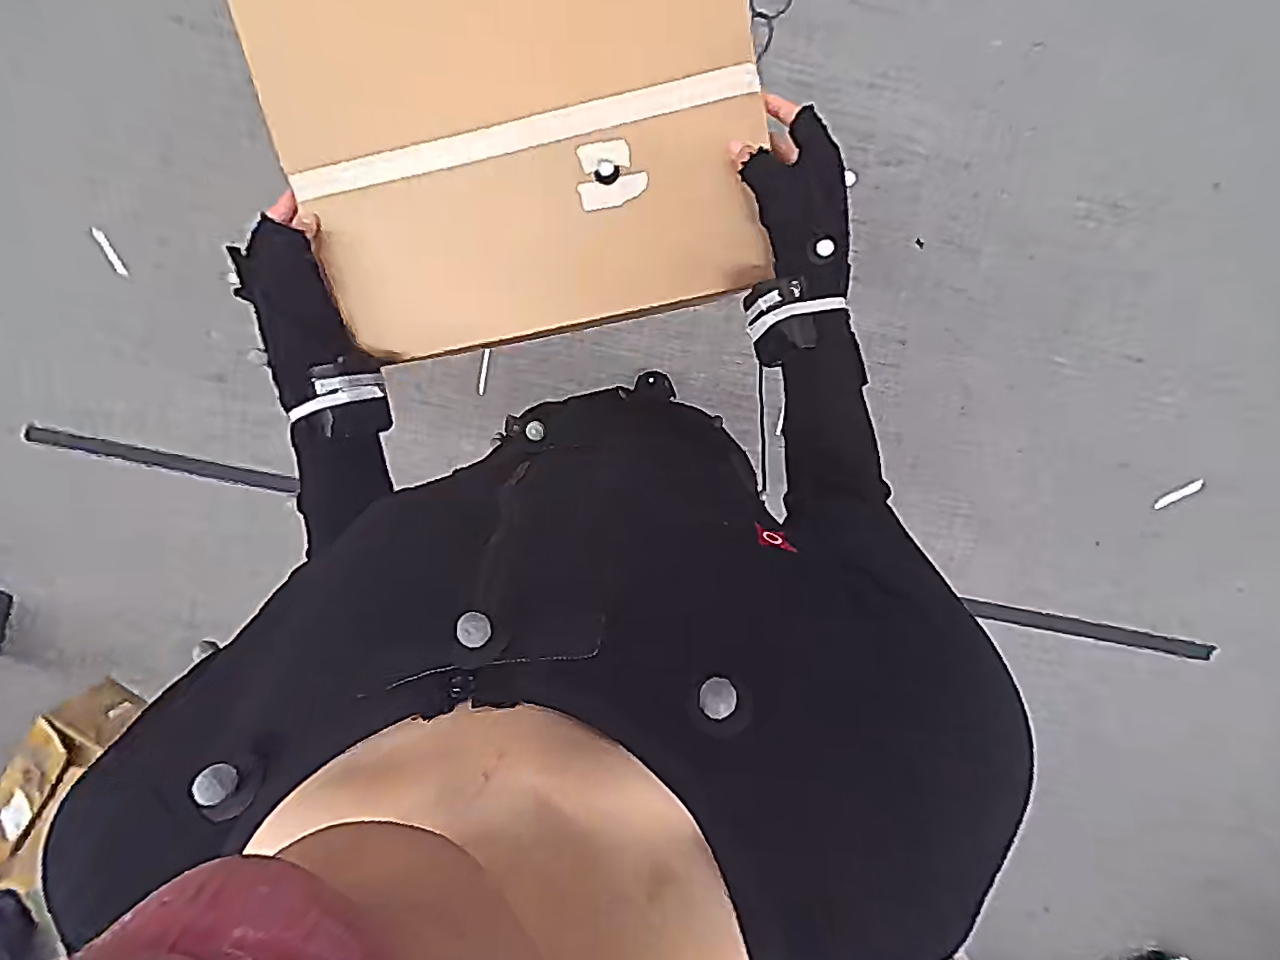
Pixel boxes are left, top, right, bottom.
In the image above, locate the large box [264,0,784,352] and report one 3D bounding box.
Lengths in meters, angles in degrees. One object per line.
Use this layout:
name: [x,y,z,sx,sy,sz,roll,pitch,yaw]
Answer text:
large box: [-0.090,-0.340,0.612,0.408,0.320,0.320,-10,105,3]
